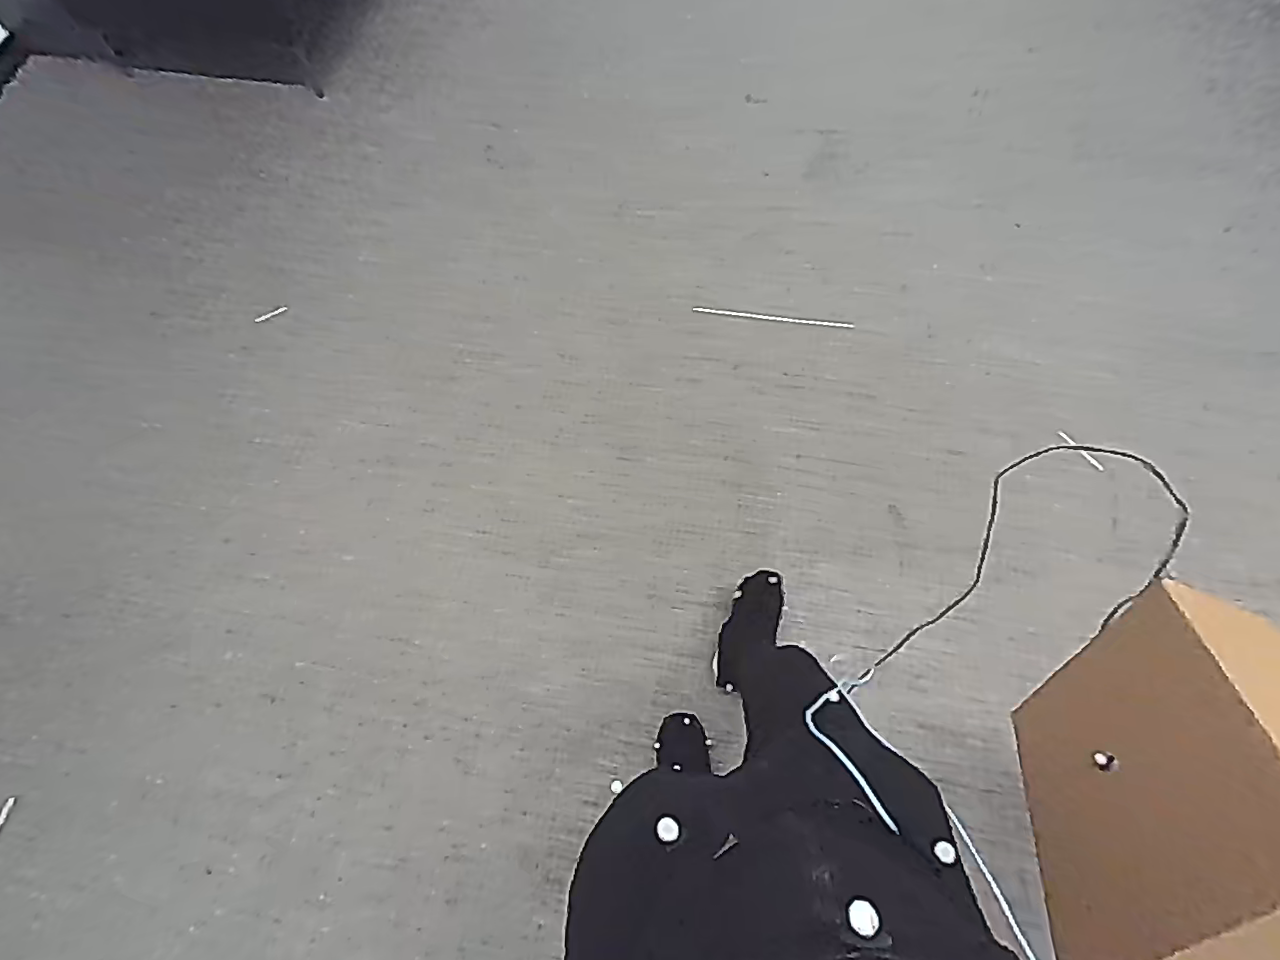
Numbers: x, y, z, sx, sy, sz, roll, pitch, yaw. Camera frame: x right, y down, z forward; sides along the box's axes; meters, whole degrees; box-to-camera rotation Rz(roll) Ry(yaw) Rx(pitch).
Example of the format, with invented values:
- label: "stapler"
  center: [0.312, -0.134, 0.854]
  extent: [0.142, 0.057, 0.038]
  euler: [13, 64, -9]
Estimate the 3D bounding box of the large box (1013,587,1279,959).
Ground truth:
- label: "large box"
  center: [0.688, 0.404, 0.598]
  extent: [0.320, 0.320, 0.408]
  euler: [29, 31, 13]
